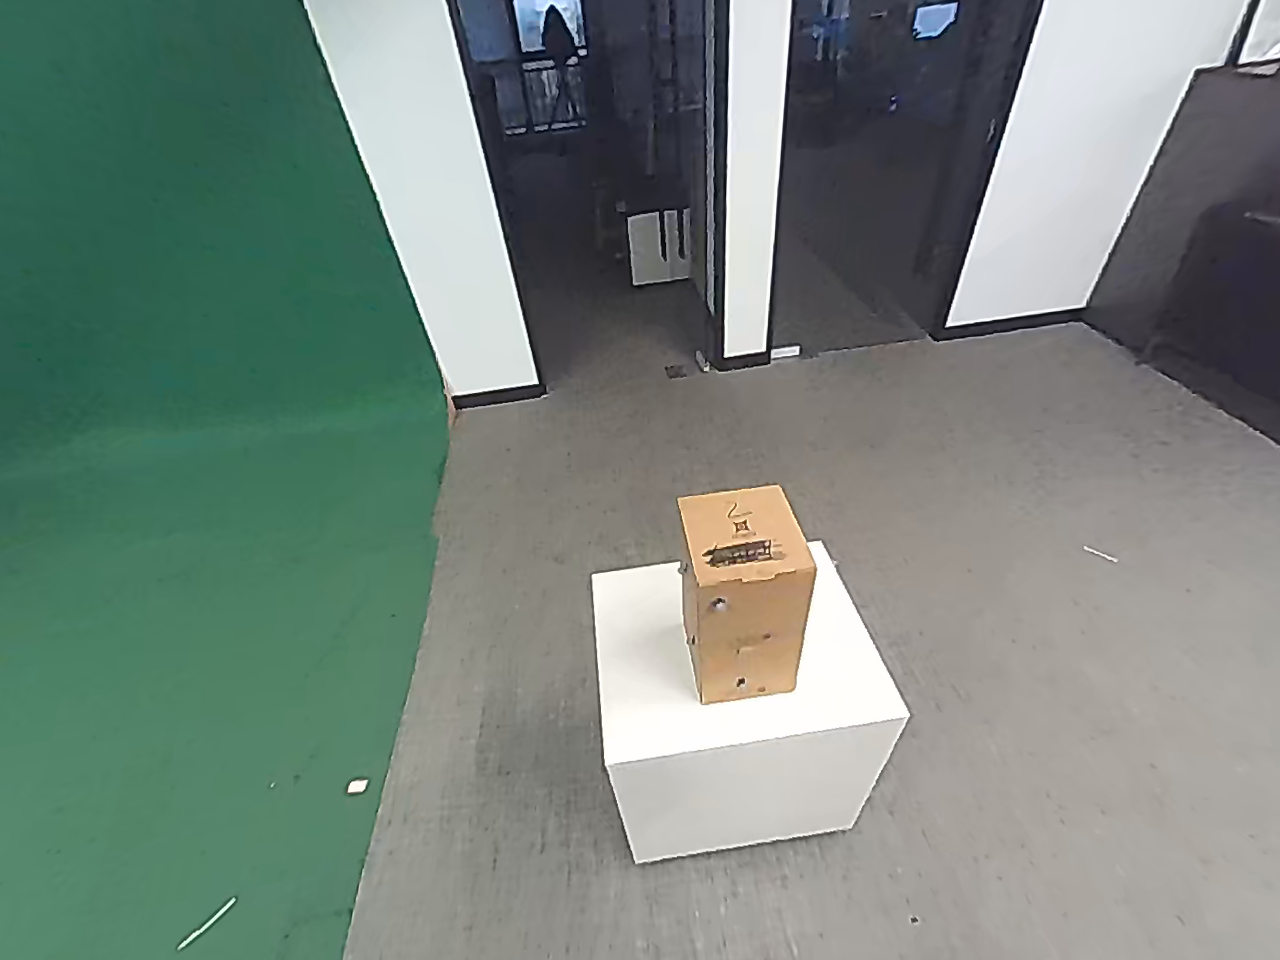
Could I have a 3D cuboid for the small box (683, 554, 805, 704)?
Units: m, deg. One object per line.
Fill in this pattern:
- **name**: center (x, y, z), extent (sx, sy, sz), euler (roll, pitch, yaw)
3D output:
- **small box**: center (0.169, 0.255, 0.933), extent (0.168, 0.176, 0.179), euler (-8, 40, -2)
